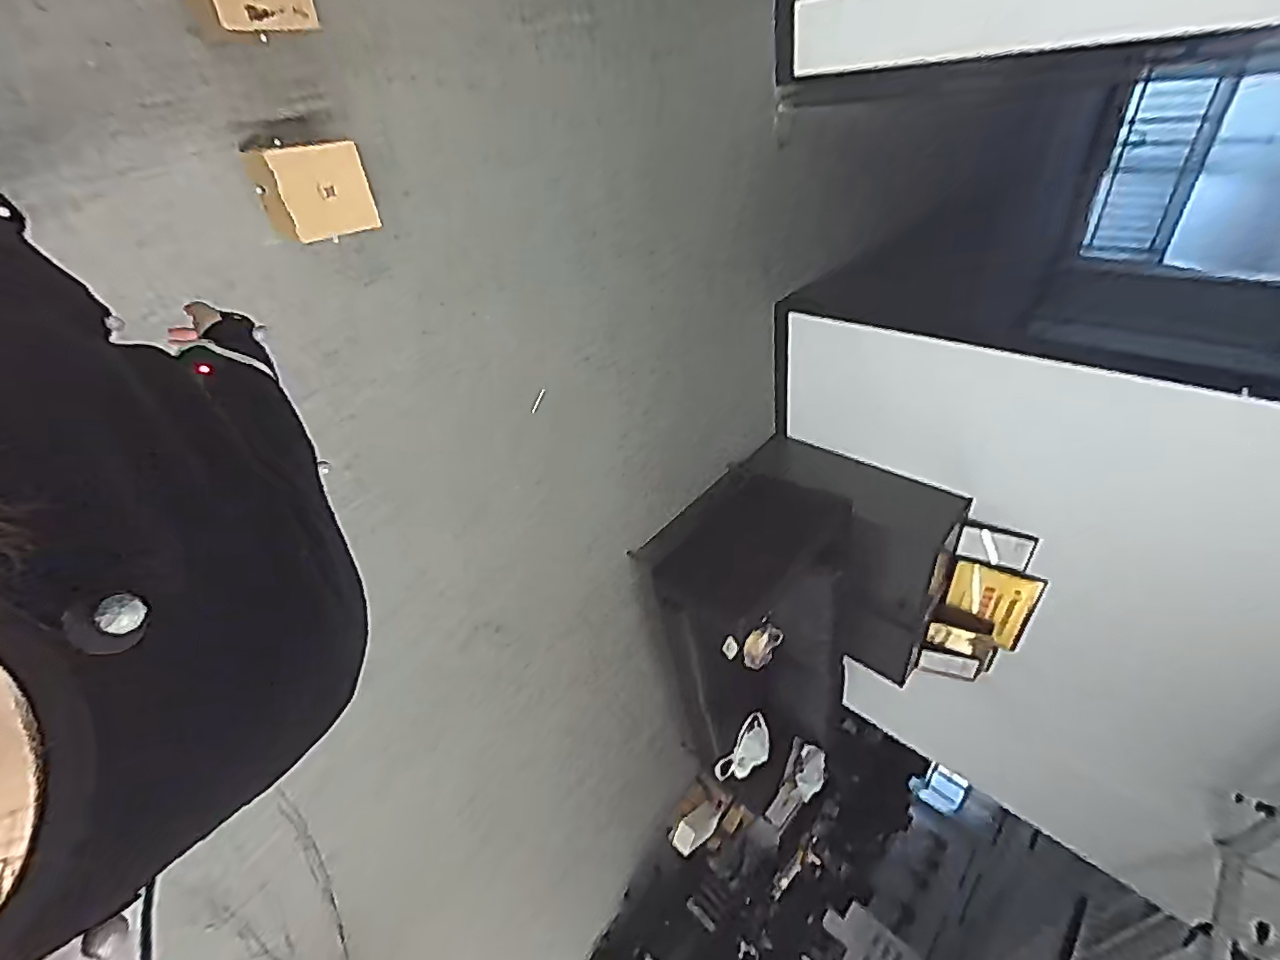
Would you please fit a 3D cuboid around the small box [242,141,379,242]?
[{"bbox_3d":[-0.703,-0.623,1.158,0.179,0.176,0.168,-34,134,-33],"label":"small box"}]

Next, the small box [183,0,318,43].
[{"bbox_3d":[-0.722,-0.905,0.965,0.168,0.176,0.179,-34,133,-33],"label":"small box"}]
